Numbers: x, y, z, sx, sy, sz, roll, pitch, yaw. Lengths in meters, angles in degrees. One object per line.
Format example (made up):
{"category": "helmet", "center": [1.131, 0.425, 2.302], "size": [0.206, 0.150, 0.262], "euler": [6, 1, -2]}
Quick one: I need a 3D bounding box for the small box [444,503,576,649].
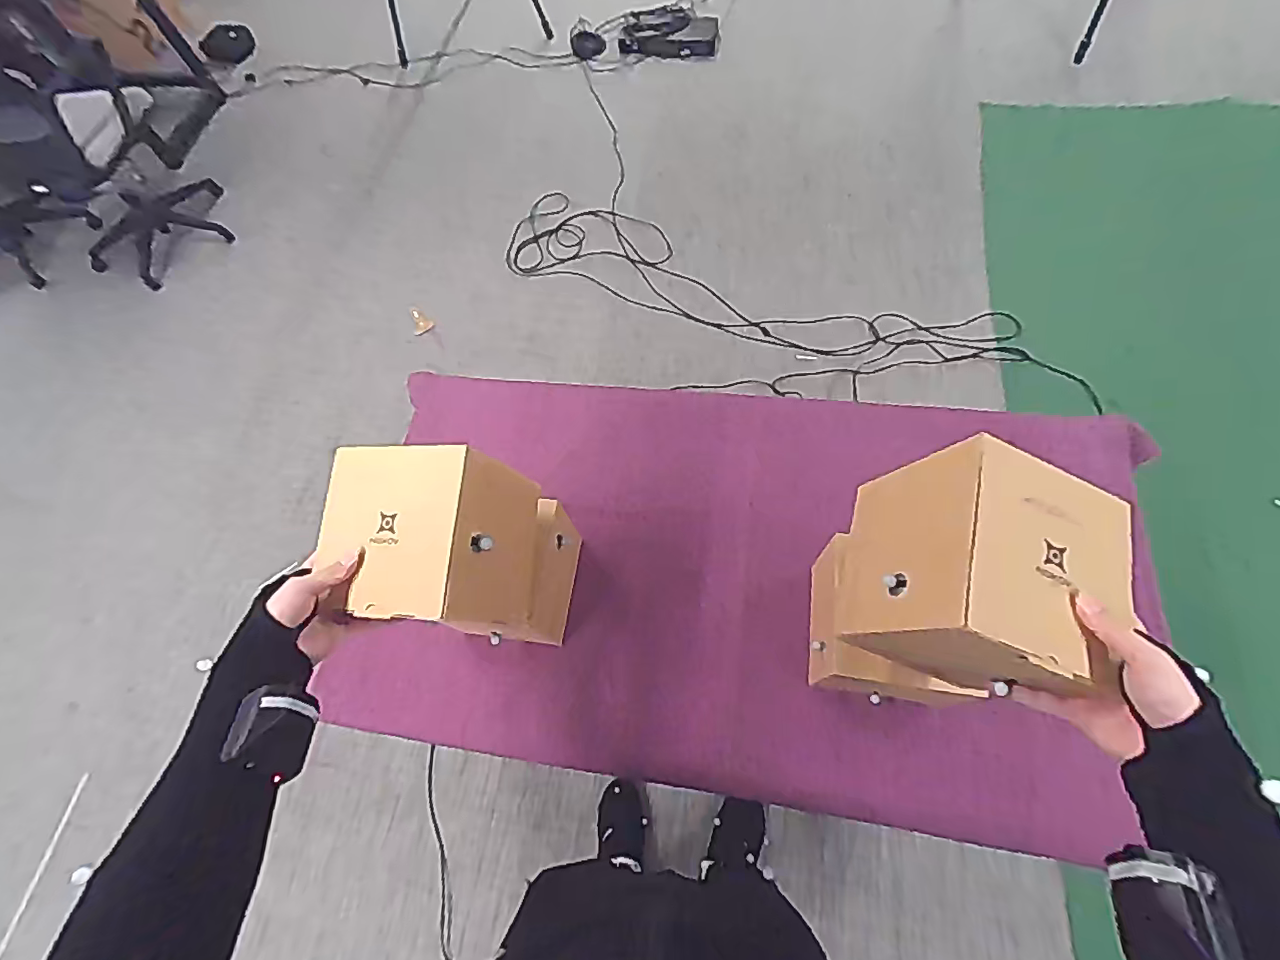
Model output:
{"category": "small box", "center": [-0.199, 0.139, 0.799], "size": [0.168, 0.176, 0.179], "euler": [5, 65, 10]}

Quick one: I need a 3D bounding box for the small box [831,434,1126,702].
{"category": "small box", "center": [0.307, 0.090, 0.514], "size": [0.168, 0.176, 0.179], "euler": [24, 67, -8]}

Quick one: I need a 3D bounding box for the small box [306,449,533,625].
{"category": "small box", "center": [-0.239, 0.072, 0.628], "size": [0.168, 0.176, 0.179], "euler": [-1, 76, 17]}
